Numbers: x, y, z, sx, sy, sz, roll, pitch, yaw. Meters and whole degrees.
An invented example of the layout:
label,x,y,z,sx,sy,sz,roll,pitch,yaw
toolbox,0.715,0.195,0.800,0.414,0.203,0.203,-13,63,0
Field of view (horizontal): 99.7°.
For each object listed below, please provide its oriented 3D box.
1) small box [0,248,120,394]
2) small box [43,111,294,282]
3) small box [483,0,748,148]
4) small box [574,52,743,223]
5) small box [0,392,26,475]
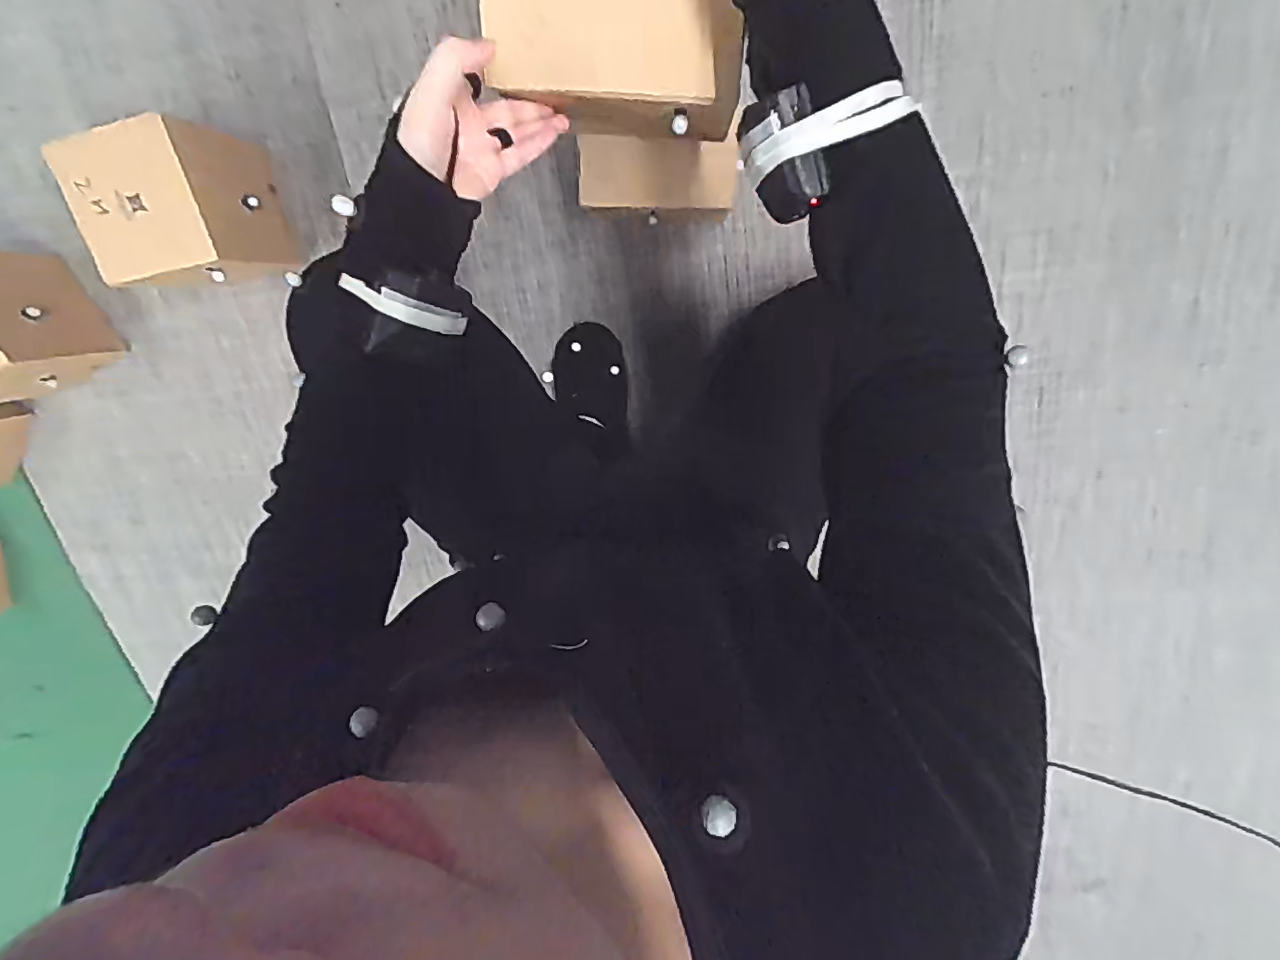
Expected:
label,x,y,z,sx,sy,sz,roll,pitch,yaw
small box,-0.982,-0.244,0.834,0.168,0.176,0.179,-23,106,14
small box,-0.617,-0.373,0.741,0.179,0.176,0.168,-7,109,9
small box,-0.009,-0.364,0.412,0.179,0.176,0.168,5,114,2
small box,0.024,-0.410,0.654,0.179,0.176,0.168,4,112,5
small box,-1.225,-0.091,0.920,0.168,0.176,0.179,37,109,-7
